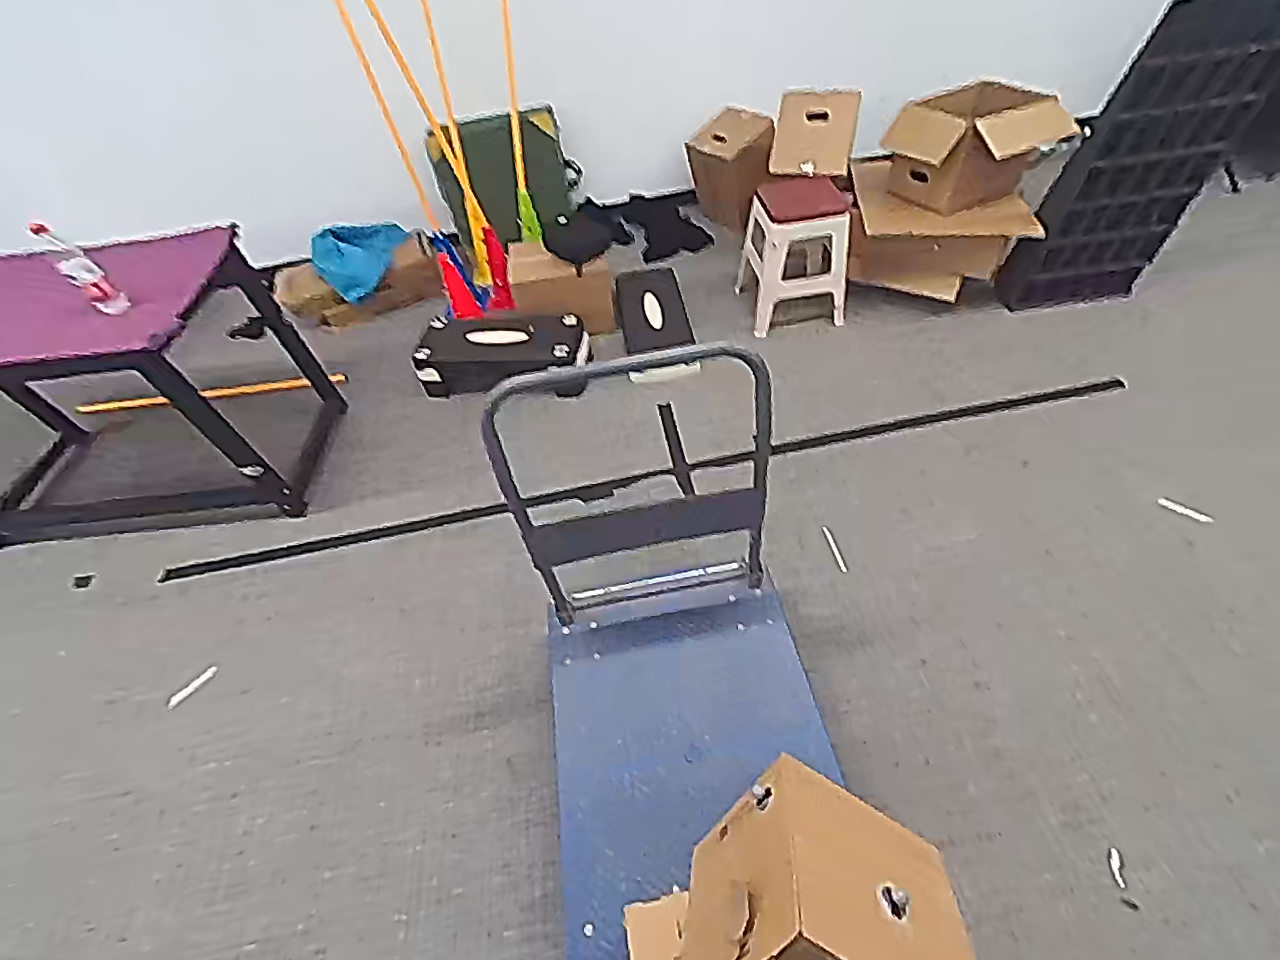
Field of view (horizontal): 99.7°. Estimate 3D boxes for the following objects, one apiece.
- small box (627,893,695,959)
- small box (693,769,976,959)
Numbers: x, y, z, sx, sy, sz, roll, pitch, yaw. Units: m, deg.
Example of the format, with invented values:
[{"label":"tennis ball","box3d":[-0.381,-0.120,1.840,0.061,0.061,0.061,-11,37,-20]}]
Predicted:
[{"label":"small box","box3d":[0.082,0.777,0.864,0.168,0.176,0.179,-12,49,-2]},{"label":"small box","box3d":[0.154,0.389,0.463,0.179,0.168,0.176,31,21,-1]}]
